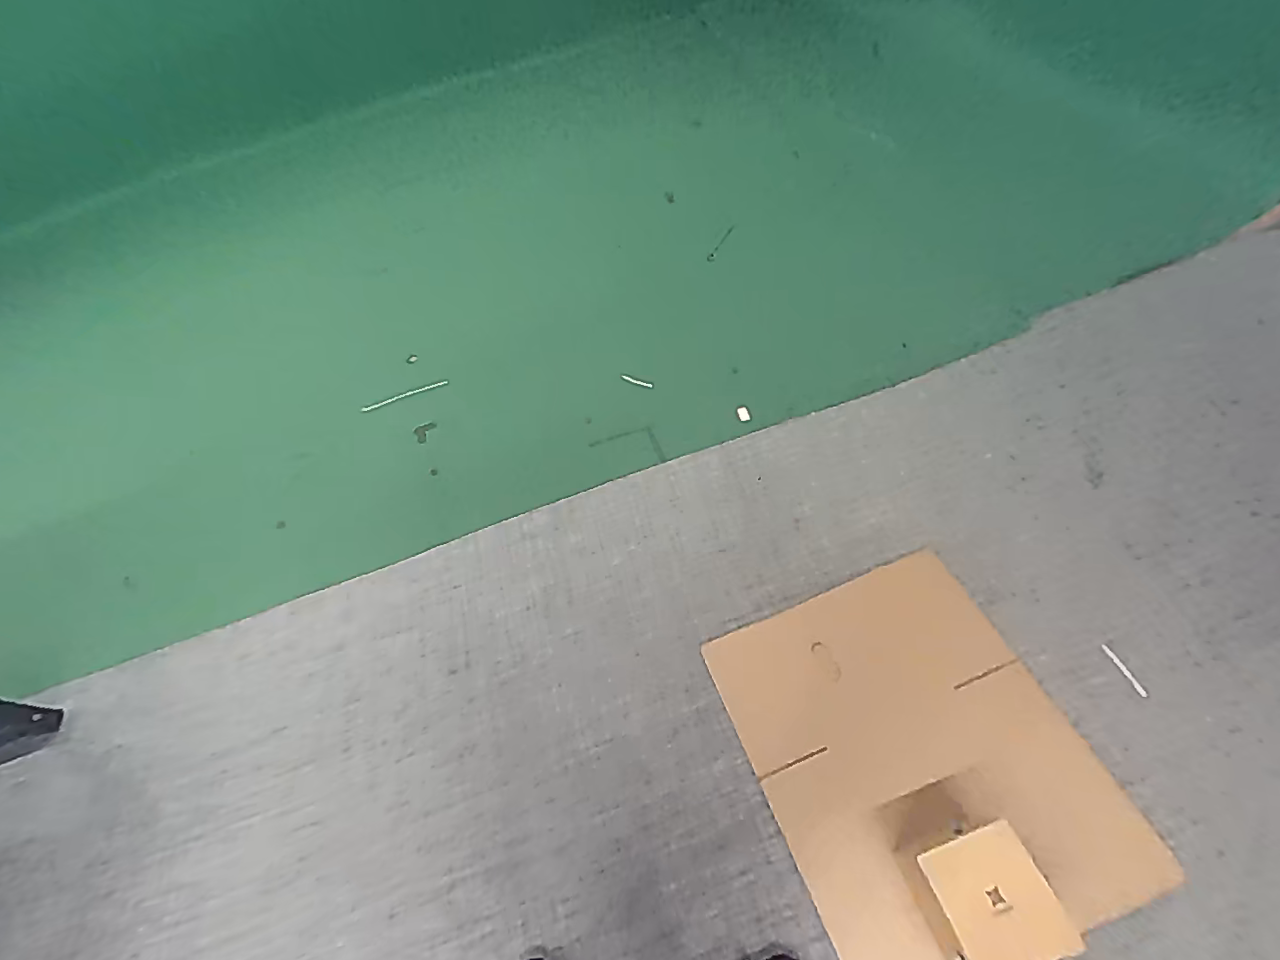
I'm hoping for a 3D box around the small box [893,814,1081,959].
[{"bbox_3d":[0.551,0.681,0.894,0.168,0.176,0.179,-21,57,-3],"label":"small box"}]
